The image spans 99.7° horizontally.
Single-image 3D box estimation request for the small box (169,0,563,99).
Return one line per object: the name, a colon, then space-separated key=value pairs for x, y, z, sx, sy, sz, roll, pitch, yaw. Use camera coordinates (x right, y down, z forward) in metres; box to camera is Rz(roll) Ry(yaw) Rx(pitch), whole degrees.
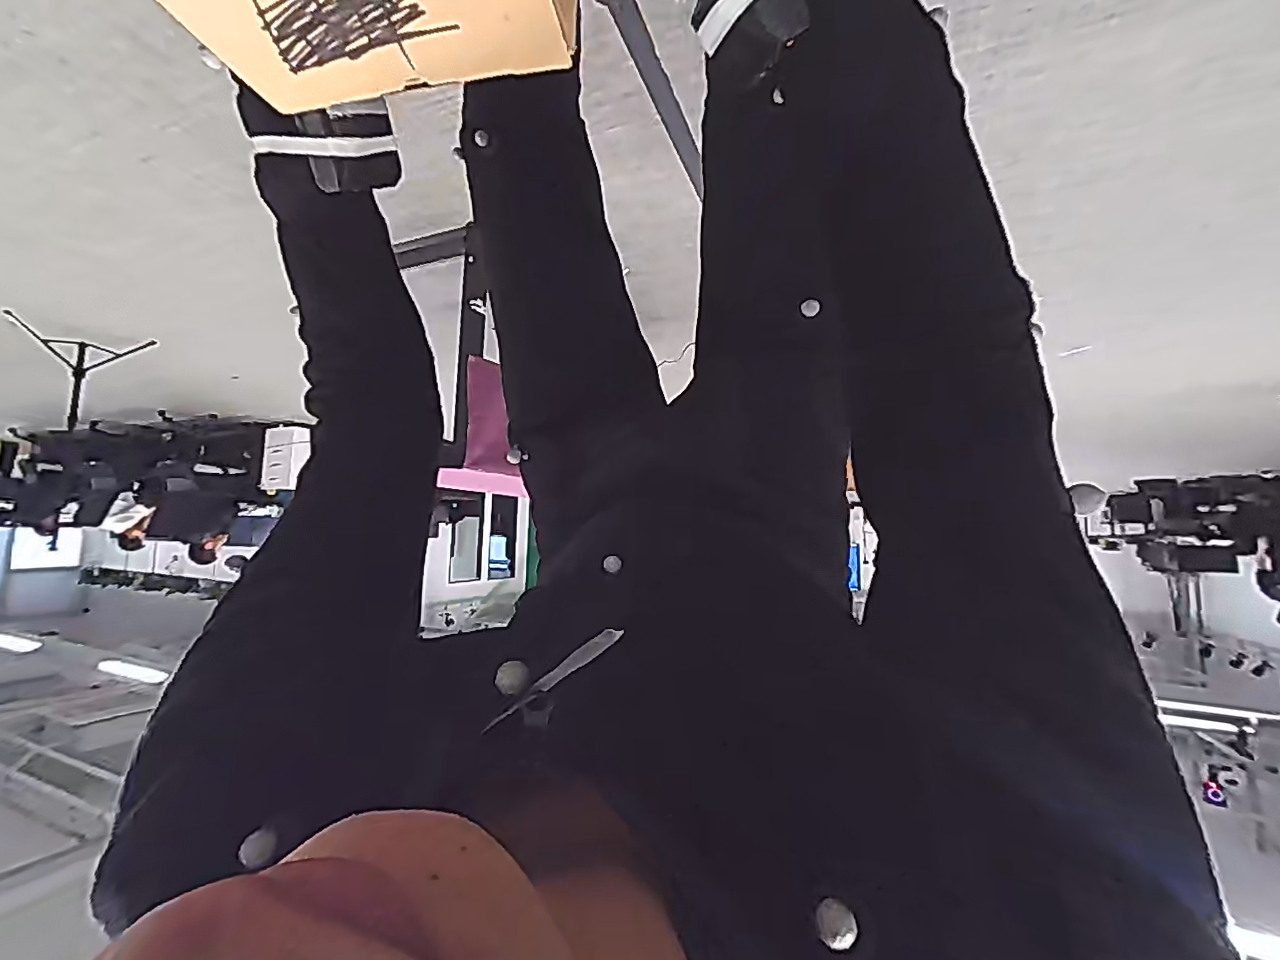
small box: x=-0.129 y=-0.294 z=0.199 sx=0.168 sy=0.176 sz=0.179 roll=-1 pitch=174 yaw=11
